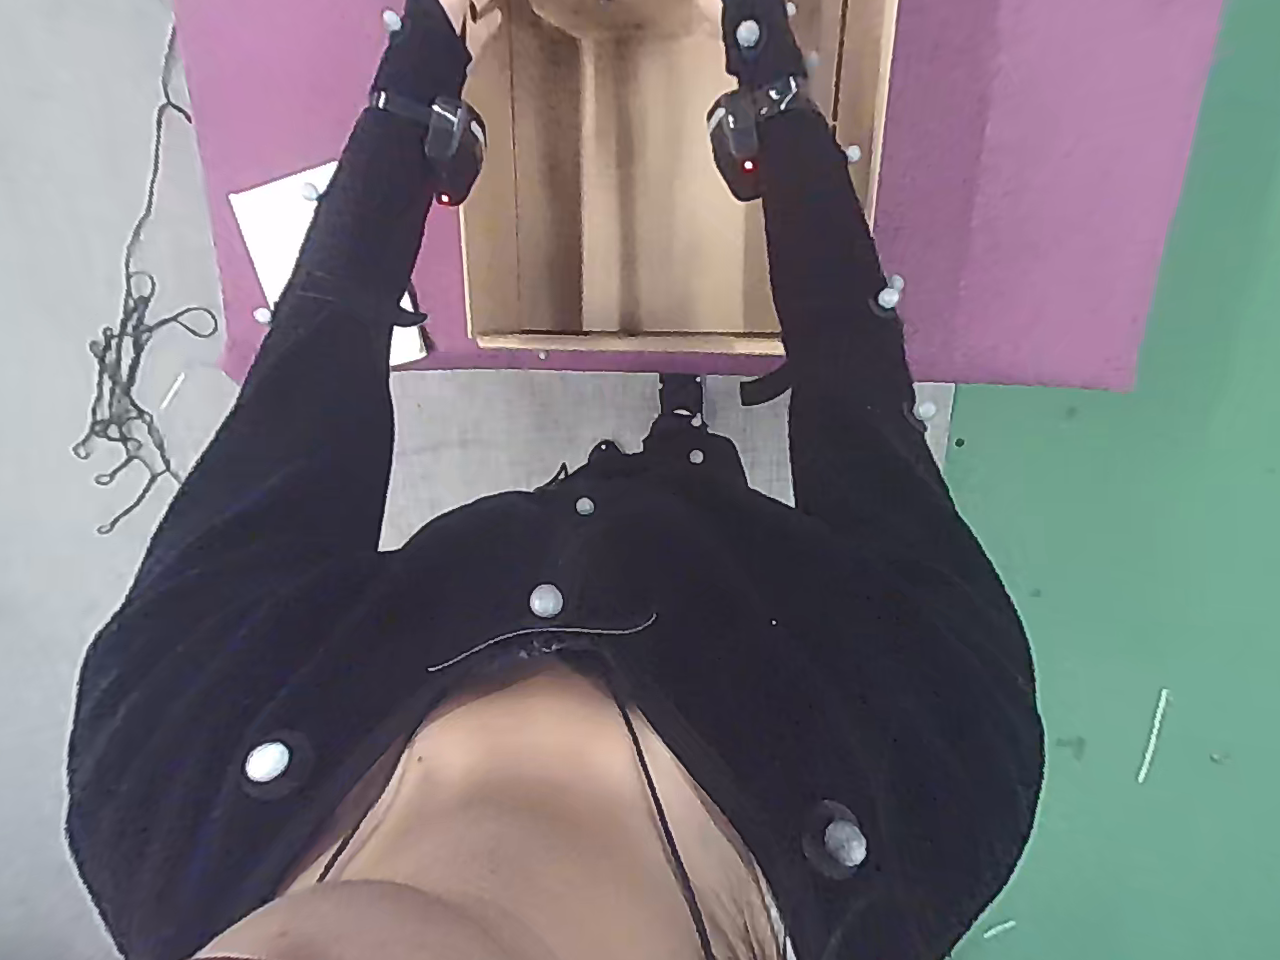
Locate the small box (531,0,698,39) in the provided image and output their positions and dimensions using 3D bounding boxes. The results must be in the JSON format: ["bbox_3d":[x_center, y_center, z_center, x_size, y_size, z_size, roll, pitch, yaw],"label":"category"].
[{"bbox_3d":[-0.027,-0.547,0.503,0.168,0.176,0.179,3,105,6],"label":"small box"}]

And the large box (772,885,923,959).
[{"bbox_3d":[0.657,1.530,1.664,0.408,0.320,0.320,-14,103,8],"label":"large box"}]
